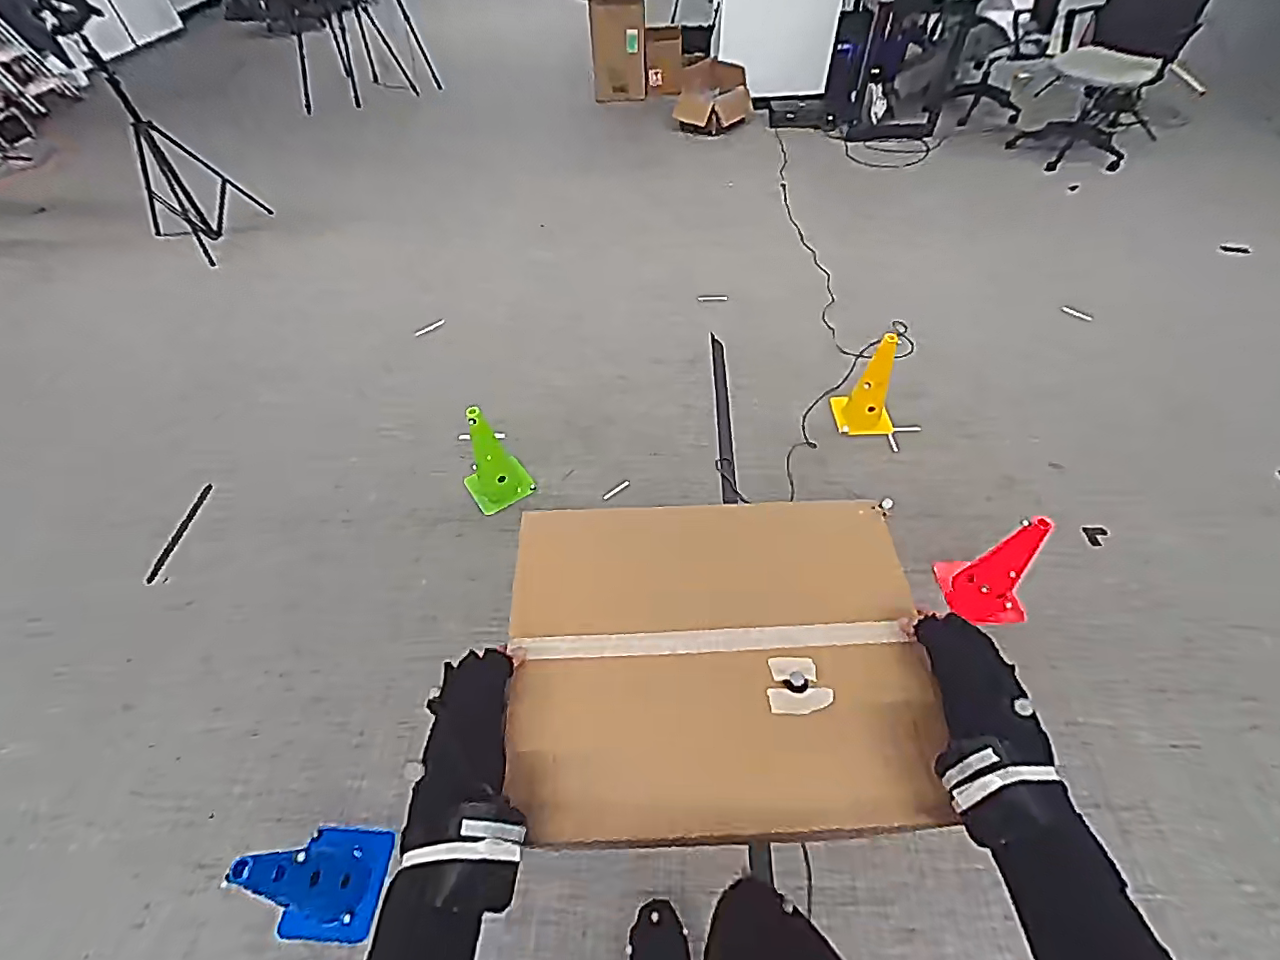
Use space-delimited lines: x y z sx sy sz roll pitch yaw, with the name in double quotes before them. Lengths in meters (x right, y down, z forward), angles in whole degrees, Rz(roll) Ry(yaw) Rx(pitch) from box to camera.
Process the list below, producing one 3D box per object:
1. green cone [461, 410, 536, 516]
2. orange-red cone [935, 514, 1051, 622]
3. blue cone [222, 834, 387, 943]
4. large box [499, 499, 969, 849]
"green cone" -0.500 -0.089 1.755 0.202 0.368 0.200 -32 55 -19
"orange-red cone" 0.975 0.208 1.436 0.198 0.360 0.199 -2 49 0
"blue cone" -0.676 0.792 1.066 0.192 0.380 0.193 1 51 5
"large box" 0.072 0.242 0.653 0.408 0.320 0.320 -2 55 -1
